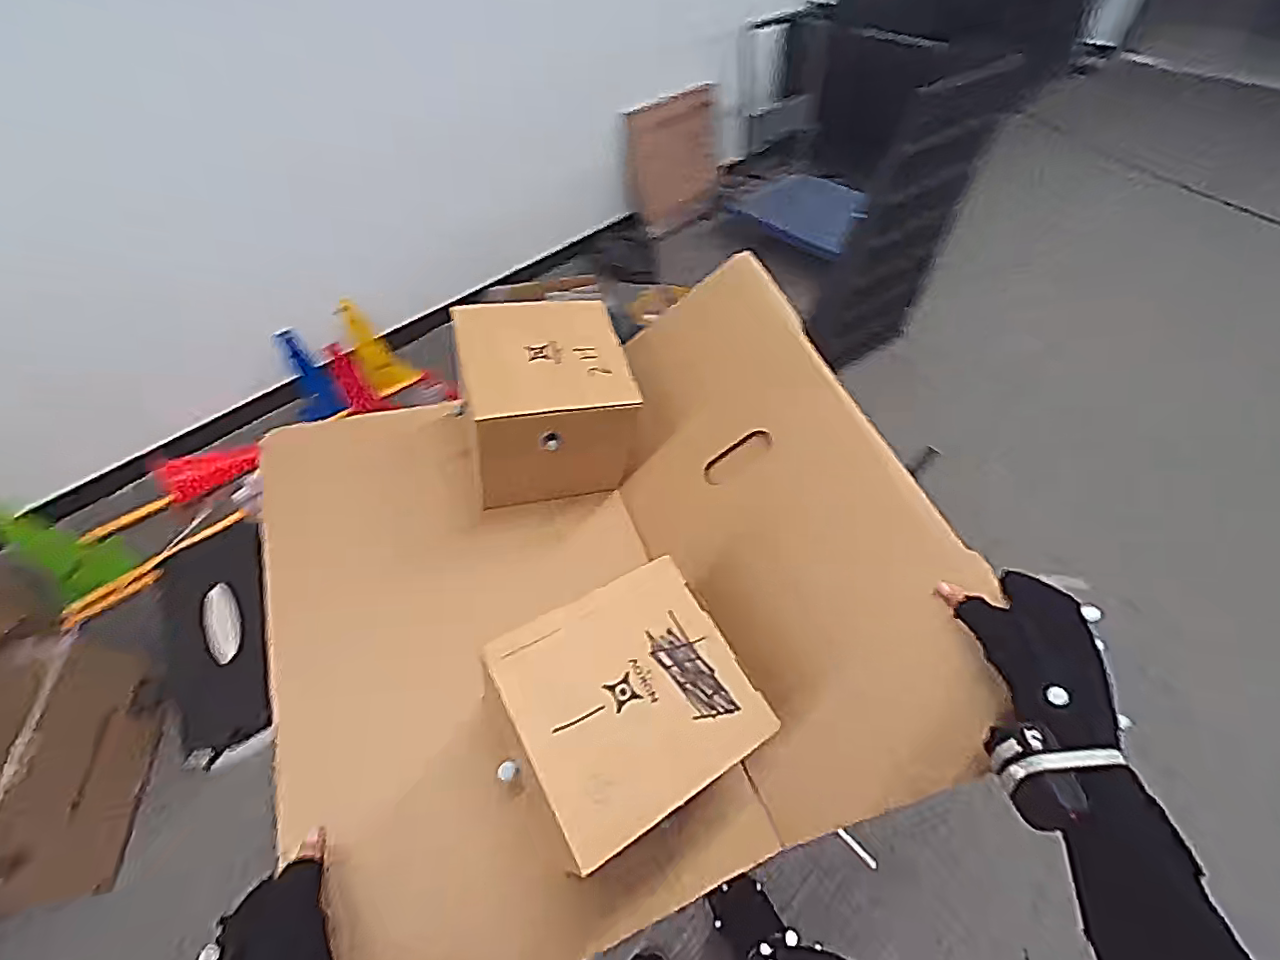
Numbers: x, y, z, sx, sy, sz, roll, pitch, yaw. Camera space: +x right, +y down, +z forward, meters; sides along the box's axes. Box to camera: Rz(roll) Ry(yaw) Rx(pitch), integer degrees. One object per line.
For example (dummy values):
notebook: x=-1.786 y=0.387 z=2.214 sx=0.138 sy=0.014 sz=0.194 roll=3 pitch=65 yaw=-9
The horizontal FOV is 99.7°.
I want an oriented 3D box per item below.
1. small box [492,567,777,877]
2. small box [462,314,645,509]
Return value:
small box: x=-0.020 y=0.209 z=0.480 sx=0.179 sy=0.176 sz=0.168 roll=-22 pitch=64 yaw=-25
small box: x=-0.112 y=-0.079 z=0.655 sx=0.179 sy=0.176 sz=0.168 roll=-7 pitch=59 yaw=-19
